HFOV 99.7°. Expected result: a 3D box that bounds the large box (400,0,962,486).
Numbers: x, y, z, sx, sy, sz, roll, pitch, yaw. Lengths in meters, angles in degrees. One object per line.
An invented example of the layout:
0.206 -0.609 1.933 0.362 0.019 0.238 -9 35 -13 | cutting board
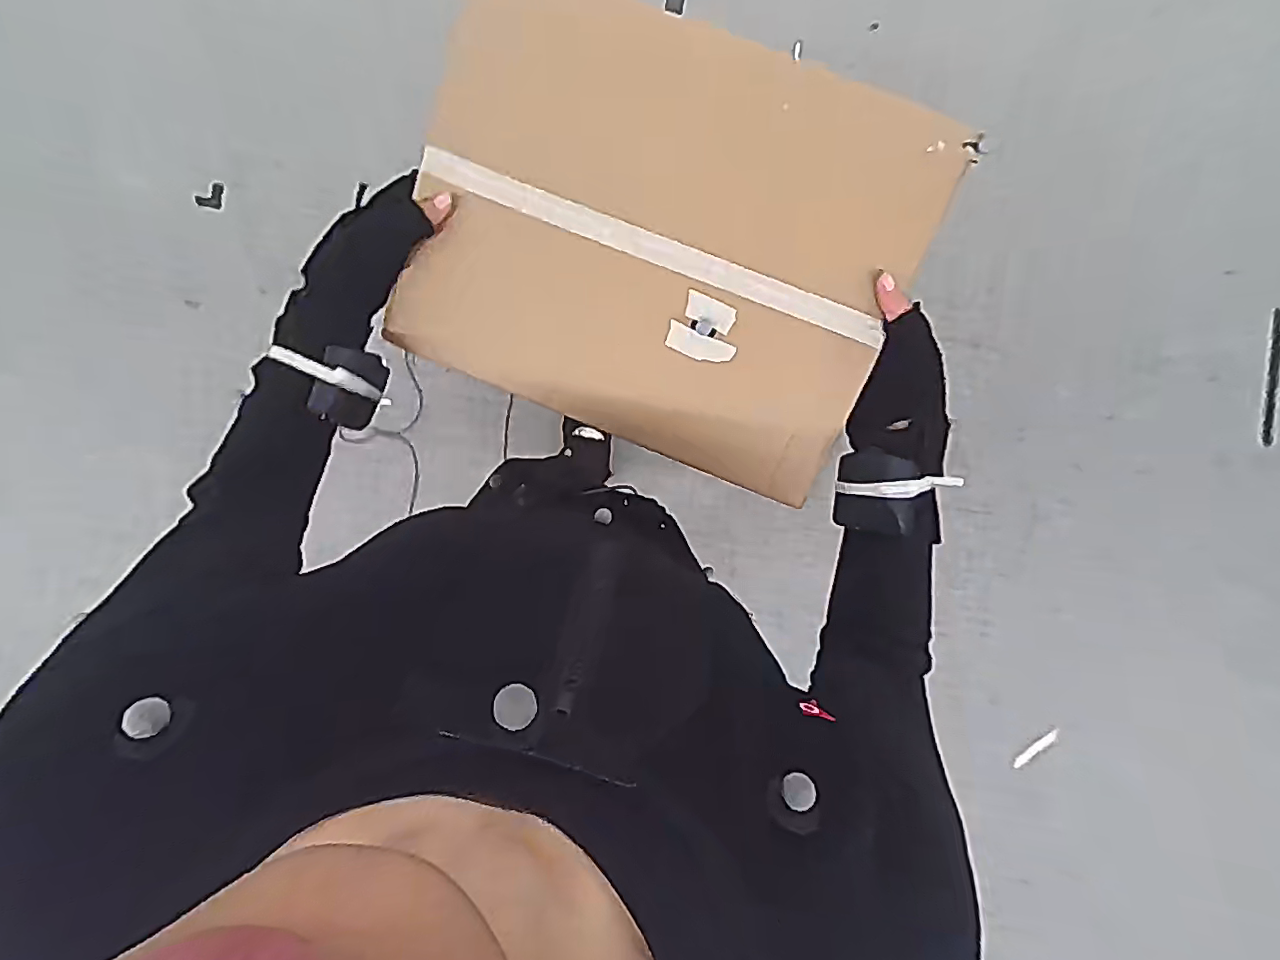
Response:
0.027 -0.233 0.598 0.408 0.320 0.320 21 106 1 | large box
